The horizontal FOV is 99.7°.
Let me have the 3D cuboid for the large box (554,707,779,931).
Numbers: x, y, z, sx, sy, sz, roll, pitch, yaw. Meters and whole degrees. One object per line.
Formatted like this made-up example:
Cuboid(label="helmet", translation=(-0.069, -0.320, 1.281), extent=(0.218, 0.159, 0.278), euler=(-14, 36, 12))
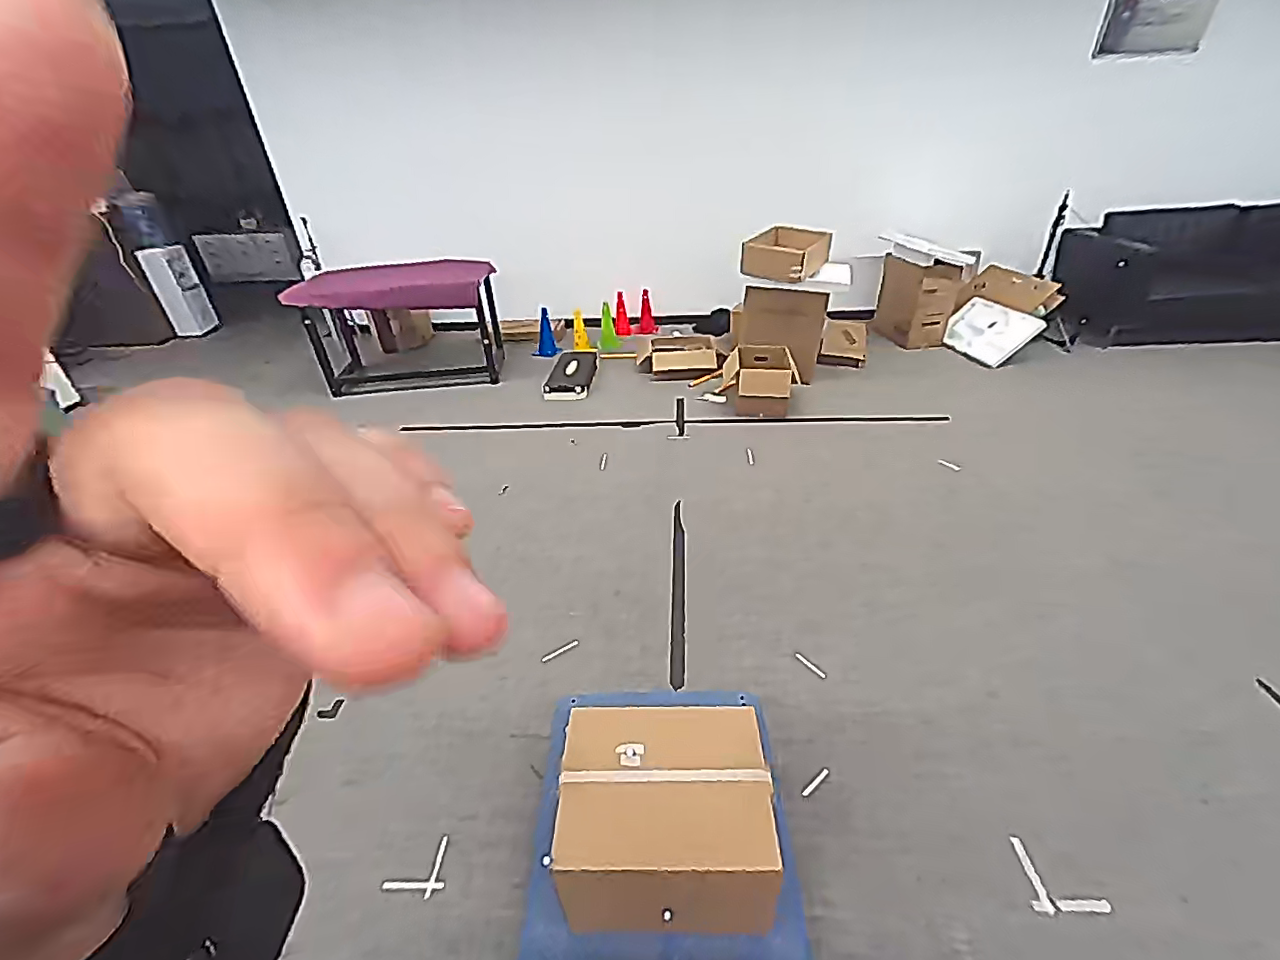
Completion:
Cuboid(label="large box", translation=(0.056, 0.719, 1.154), extent=(0.408, 0.320, 0.320), euler=(-3, 32, 2))
